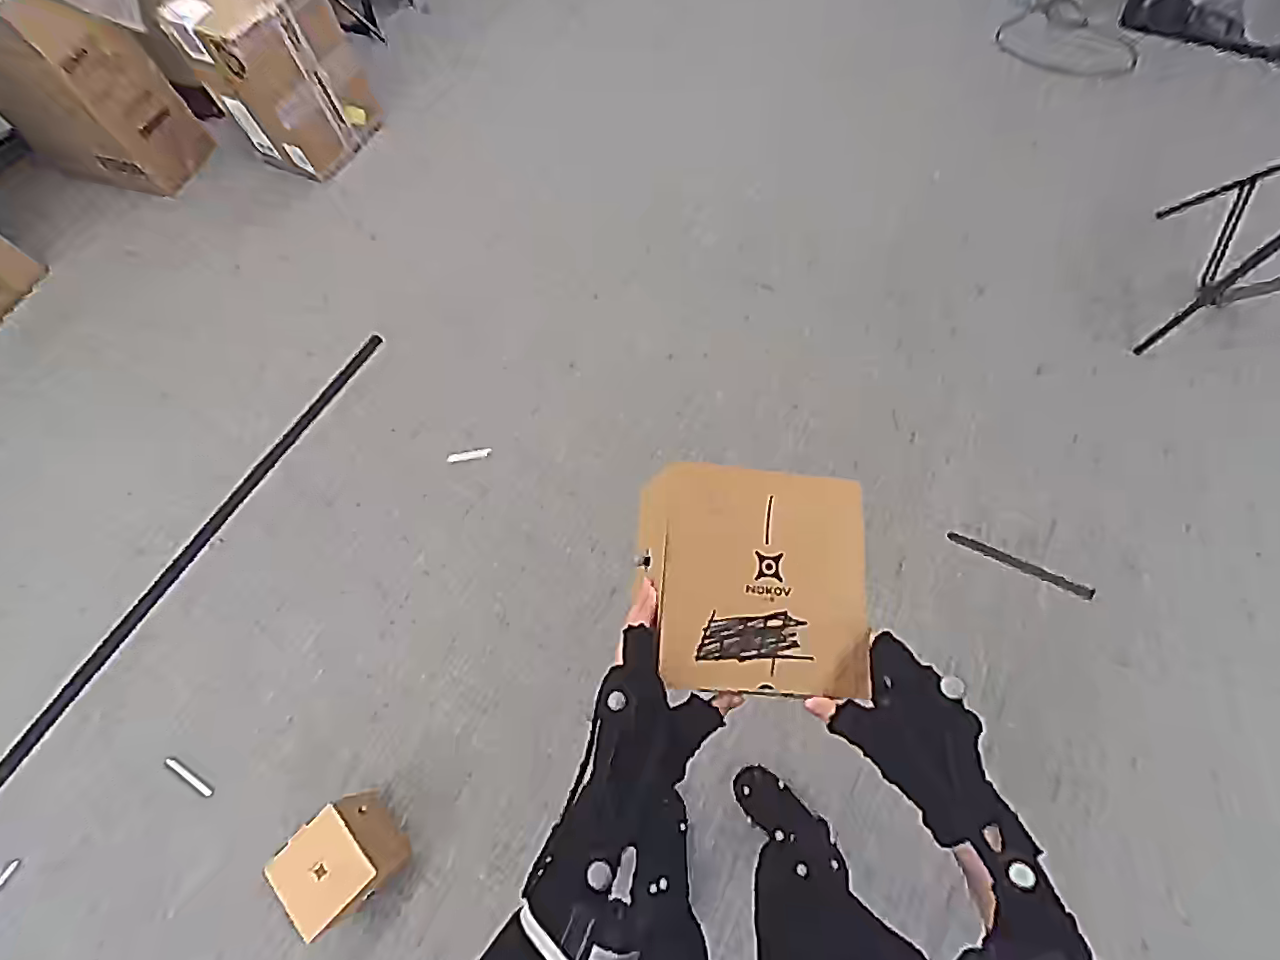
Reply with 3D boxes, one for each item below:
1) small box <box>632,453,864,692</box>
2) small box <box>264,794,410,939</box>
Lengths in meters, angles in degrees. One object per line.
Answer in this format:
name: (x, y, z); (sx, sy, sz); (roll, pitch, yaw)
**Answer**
small box: (0.087, 0.084, 0.504); (0.168, 0.176, 0.179); (6, 80, -7)
small box: (-0.631, 0.798, 1.145); (0.179, 0.176, 0.168); (42, 76, 17)
